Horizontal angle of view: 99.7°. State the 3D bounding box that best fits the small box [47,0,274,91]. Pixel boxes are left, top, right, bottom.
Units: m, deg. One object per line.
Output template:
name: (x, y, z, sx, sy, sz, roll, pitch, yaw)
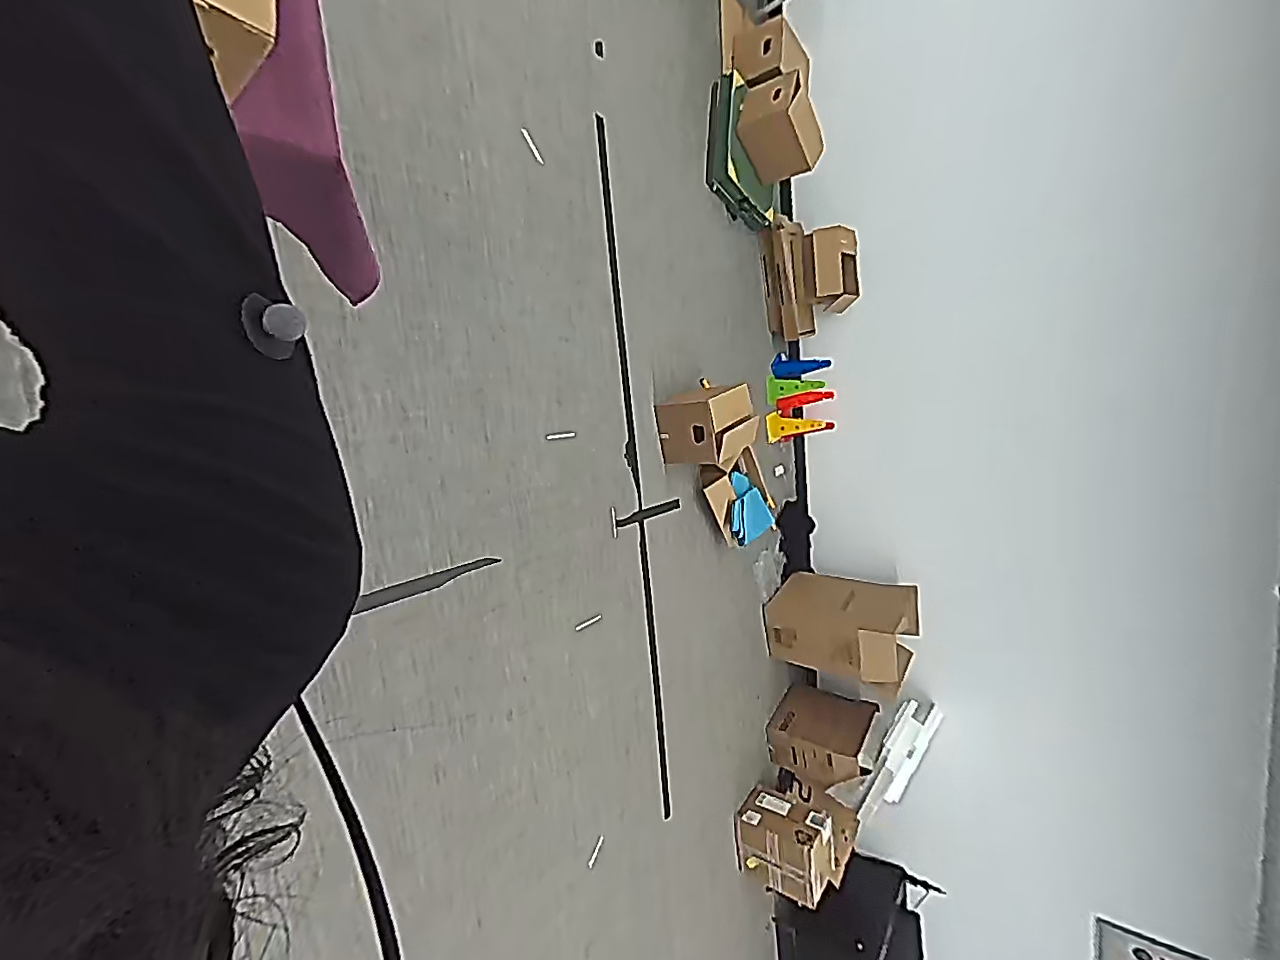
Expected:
small box: (-0.511, -0.565, 0.570, 0.168, 0.176, 0.179, -2, 91, -54)
